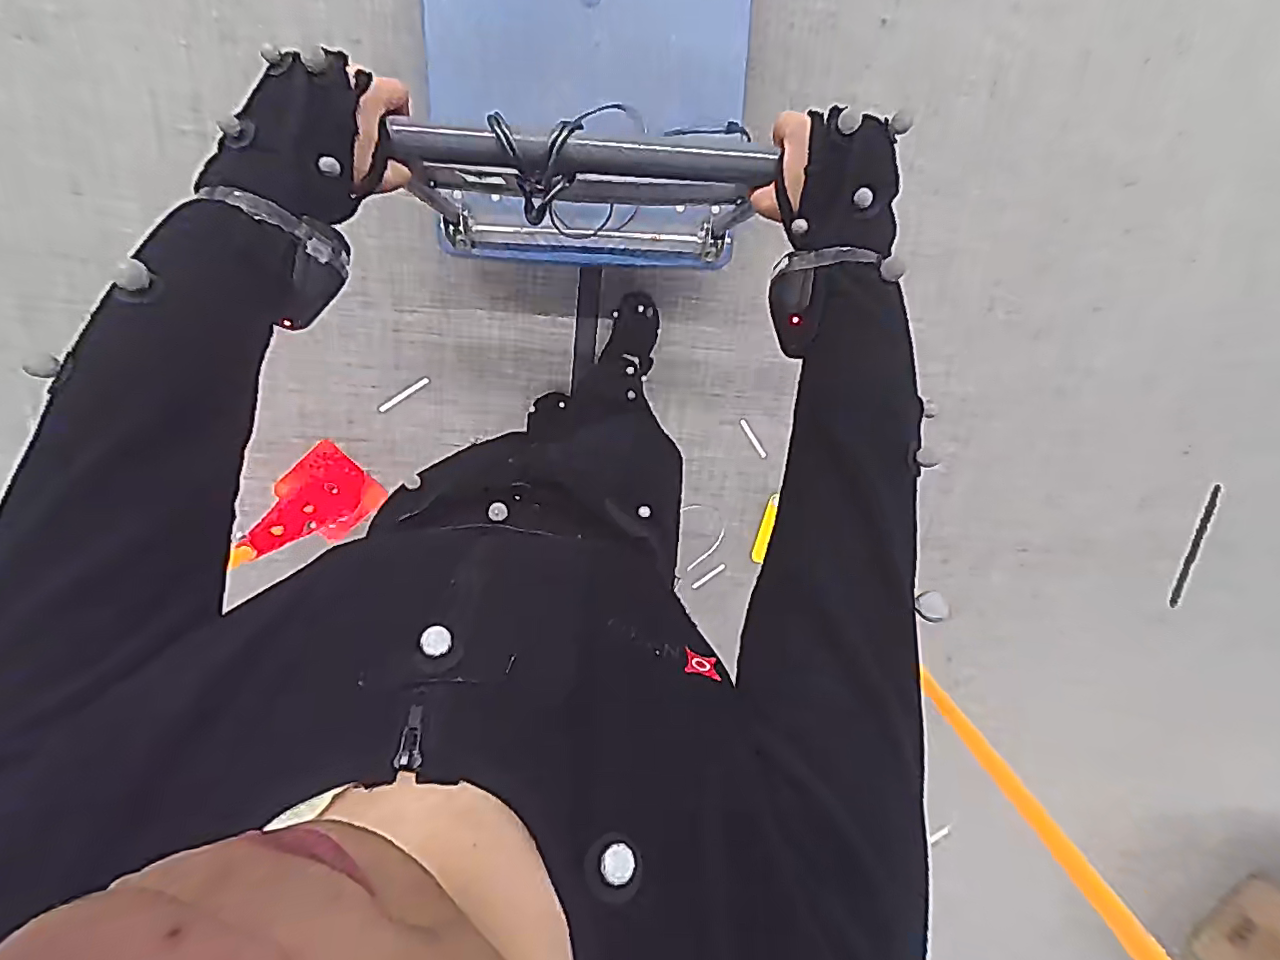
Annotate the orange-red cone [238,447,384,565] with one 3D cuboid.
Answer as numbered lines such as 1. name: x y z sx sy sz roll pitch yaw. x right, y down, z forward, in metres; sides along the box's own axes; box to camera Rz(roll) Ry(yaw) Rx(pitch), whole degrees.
1. orange-red cone: -0.732 0.088 1.147 0.199 0.360 0.198 -39 107 5
